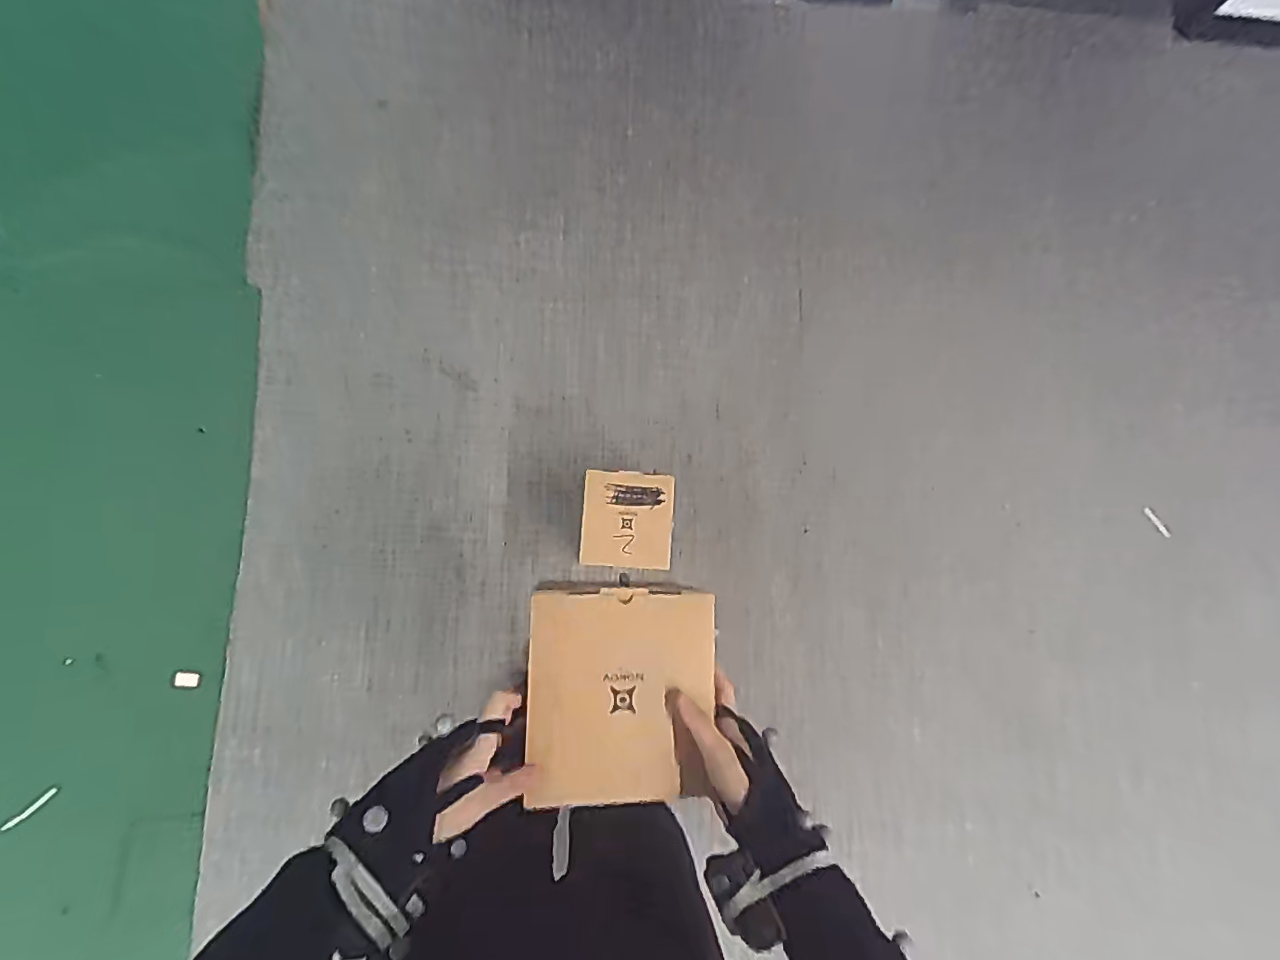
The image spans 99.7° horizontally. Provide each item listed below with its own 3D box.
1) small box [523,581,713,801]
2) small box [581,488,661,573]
[{"bbox_3d":[-0.026,0.196,0.552,0.168,0.176,0.179,1,81,-8],"label":"small box"},{"bbox_3d":[-0.045,0.114,1.219,0.168,0.176,0.179,2,83,-5],"label":"small box"}]
